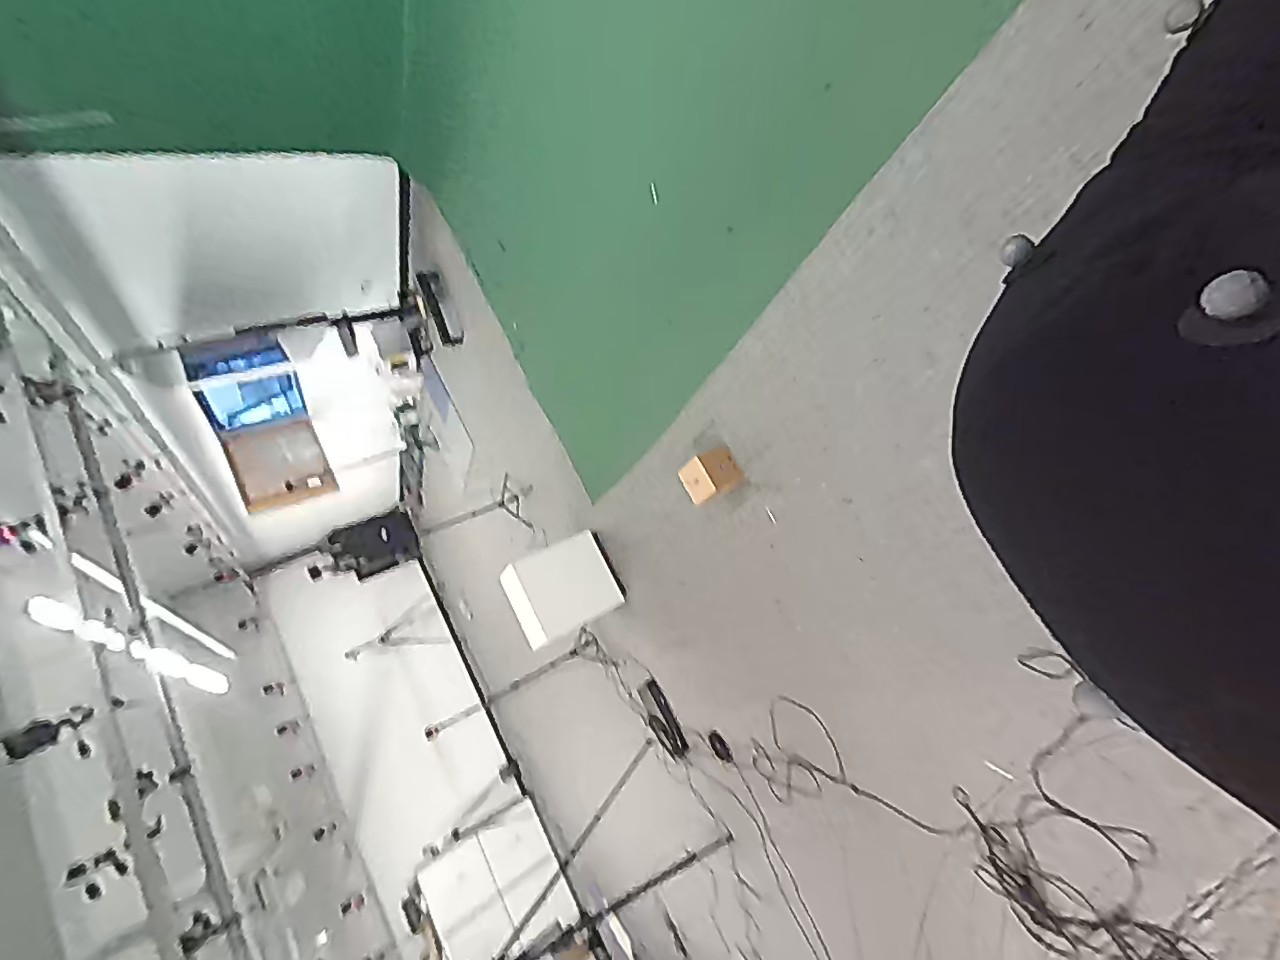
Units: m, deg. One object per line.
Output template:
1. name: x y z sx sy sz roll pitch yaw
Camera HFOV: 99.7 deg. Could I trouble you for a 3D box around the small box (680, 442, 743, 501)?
1. small box: 0.306 -0.039 2.269 0.168 0.176 0.179 62 148 12
